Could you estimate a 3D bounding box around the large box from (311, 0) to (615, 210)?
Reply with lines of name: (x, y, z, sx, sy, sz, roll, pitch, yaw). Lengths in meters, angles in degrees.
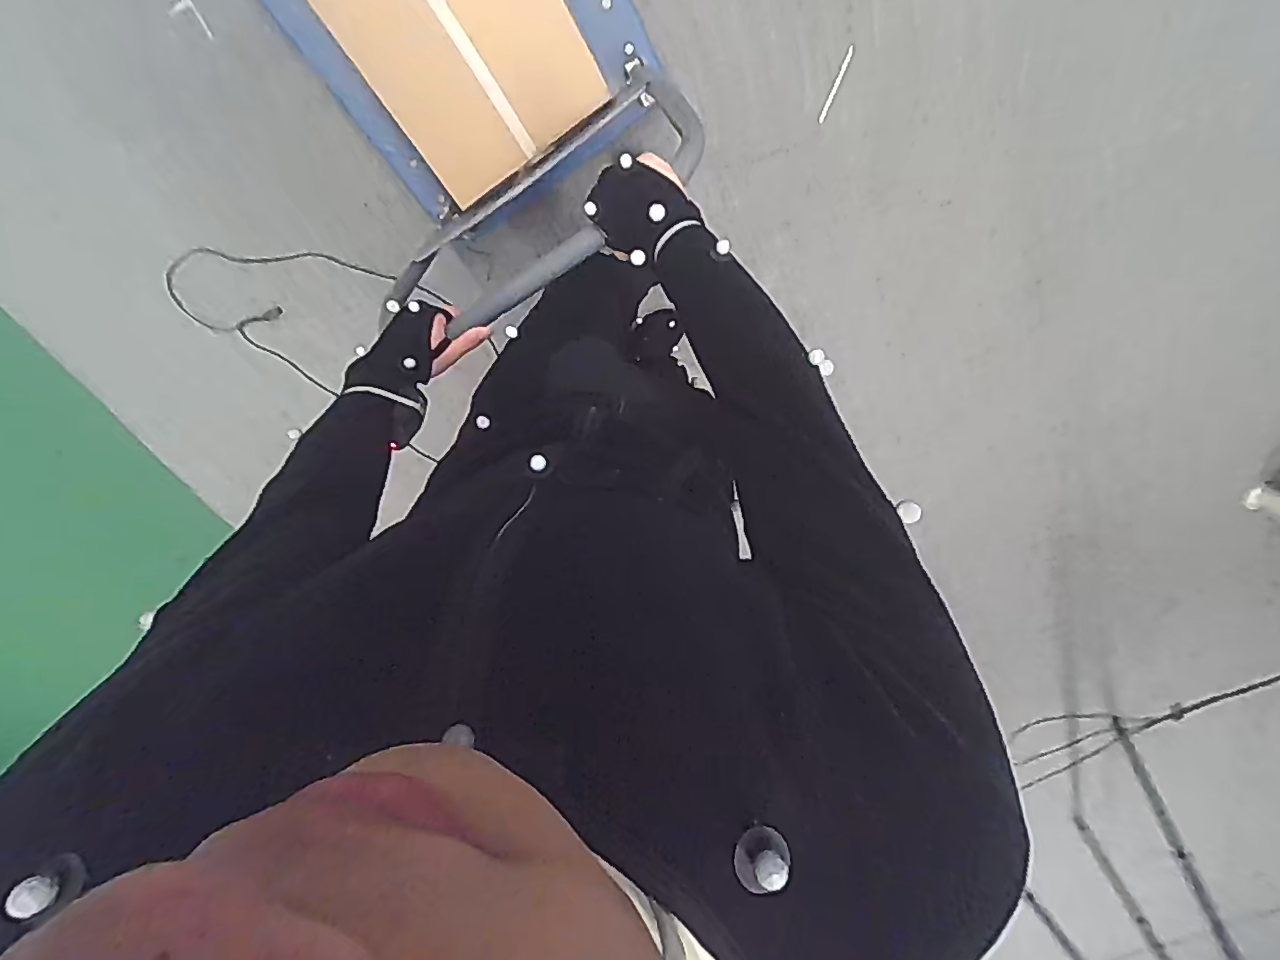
large box: (-0.278, -0.760, 0.930, 0.320, 0.320, 0.408, -27, 122, 16)
